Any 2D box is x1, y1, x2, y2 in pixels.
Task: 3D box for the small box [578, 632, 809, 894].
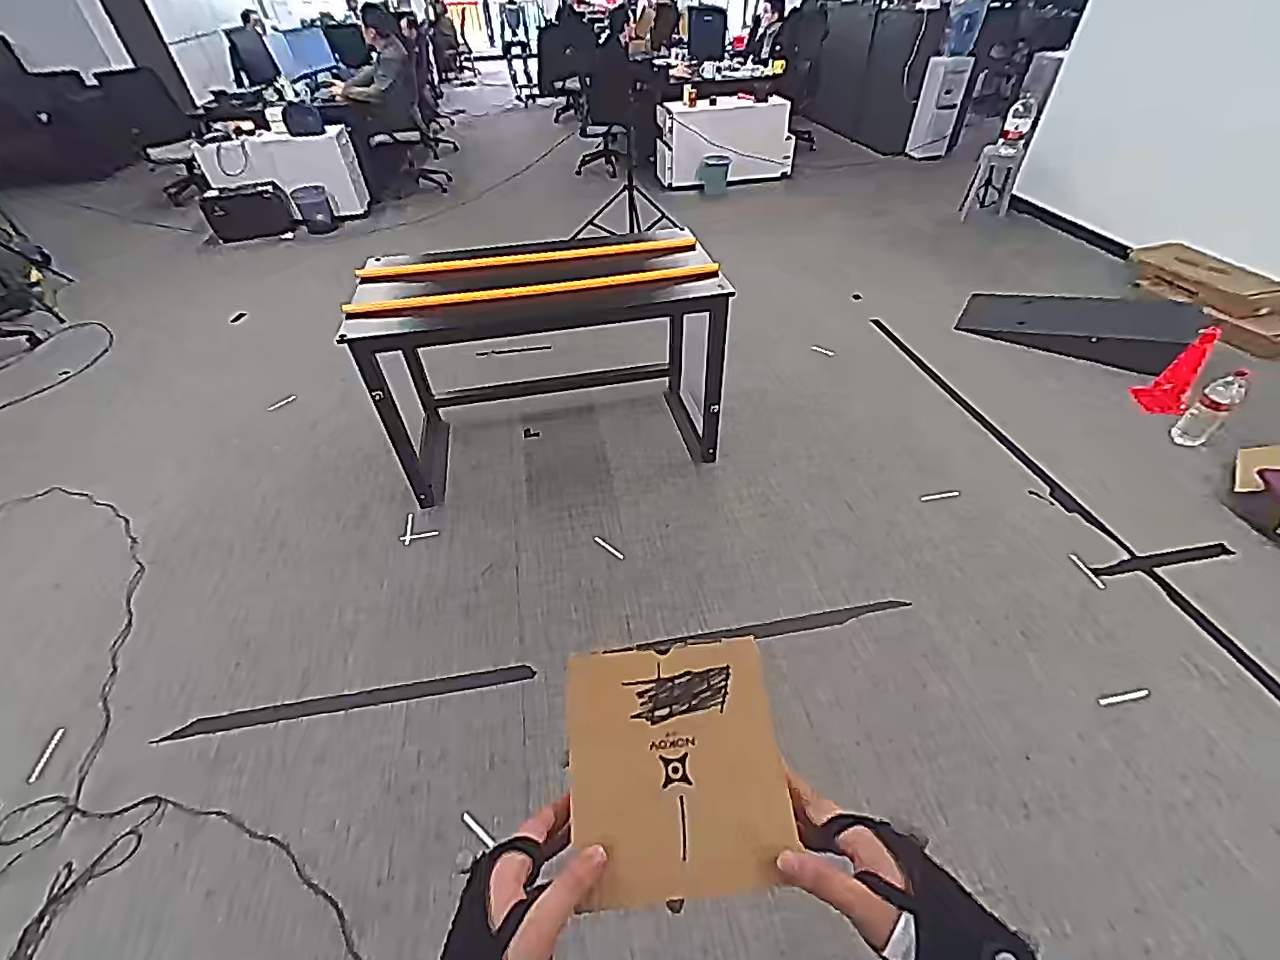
[{"bbox_3d":[0.031,0.255,0.492,0.168,0.176,0.179,-4,57,-3],"label":"small box"}]
